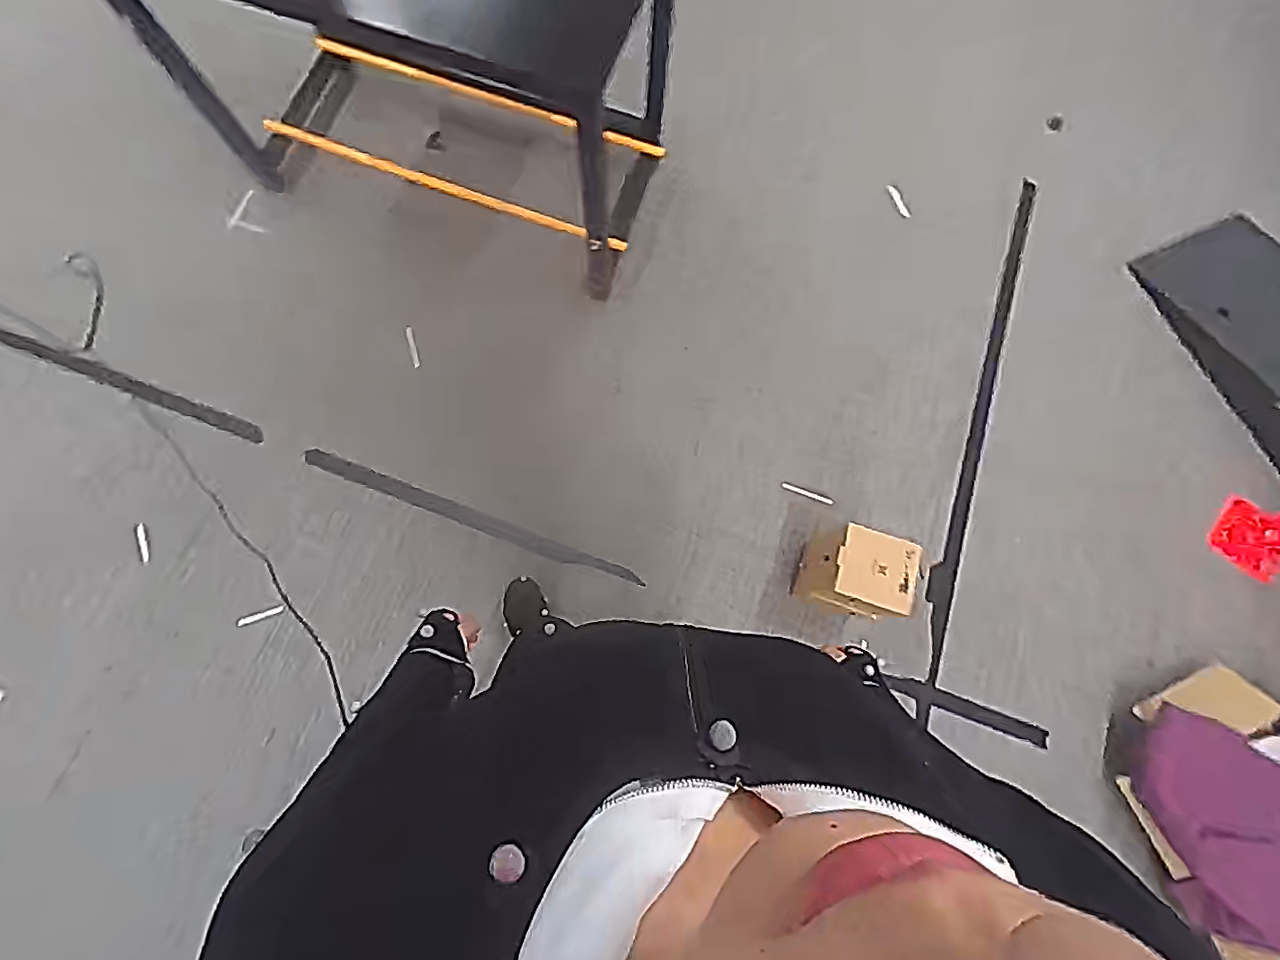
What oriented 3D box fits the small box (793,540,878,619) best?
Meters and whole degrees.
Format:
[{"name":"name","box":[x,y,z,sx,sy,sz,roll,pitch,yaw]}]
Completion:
[{"name":"small box","box":[0.538,0.262,1.453,0.179,0.176,0.168,21,77,3]}]

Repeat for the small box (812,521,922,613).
[{"name":"small box","box":[0.535,0.214,1.296,0.179,0.176,0.168,19,77,3]}]
